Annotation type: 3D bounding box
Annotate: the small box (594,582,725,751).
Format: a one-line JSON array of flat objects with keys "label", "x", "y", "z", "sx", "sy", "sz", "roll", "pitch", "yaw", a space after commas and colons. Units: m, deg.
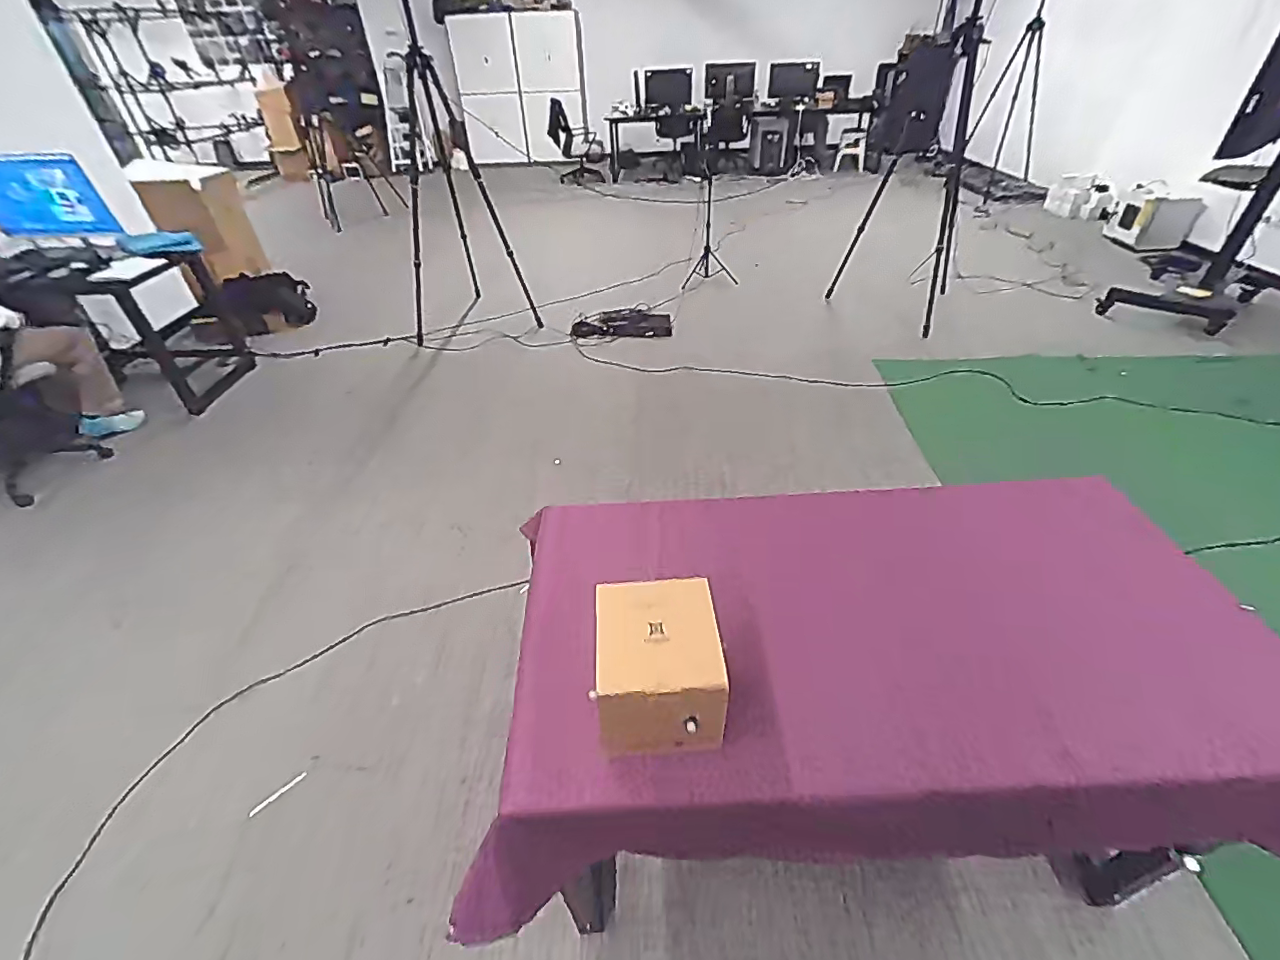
[{"label": "small box", "x": 0.024, "y": 0.270, "z": 0.776, "sx": 0.168, "sy": 0.176, "sz": 0.179, "roll": -2, "pitch": 38, "yaw": -2}]
